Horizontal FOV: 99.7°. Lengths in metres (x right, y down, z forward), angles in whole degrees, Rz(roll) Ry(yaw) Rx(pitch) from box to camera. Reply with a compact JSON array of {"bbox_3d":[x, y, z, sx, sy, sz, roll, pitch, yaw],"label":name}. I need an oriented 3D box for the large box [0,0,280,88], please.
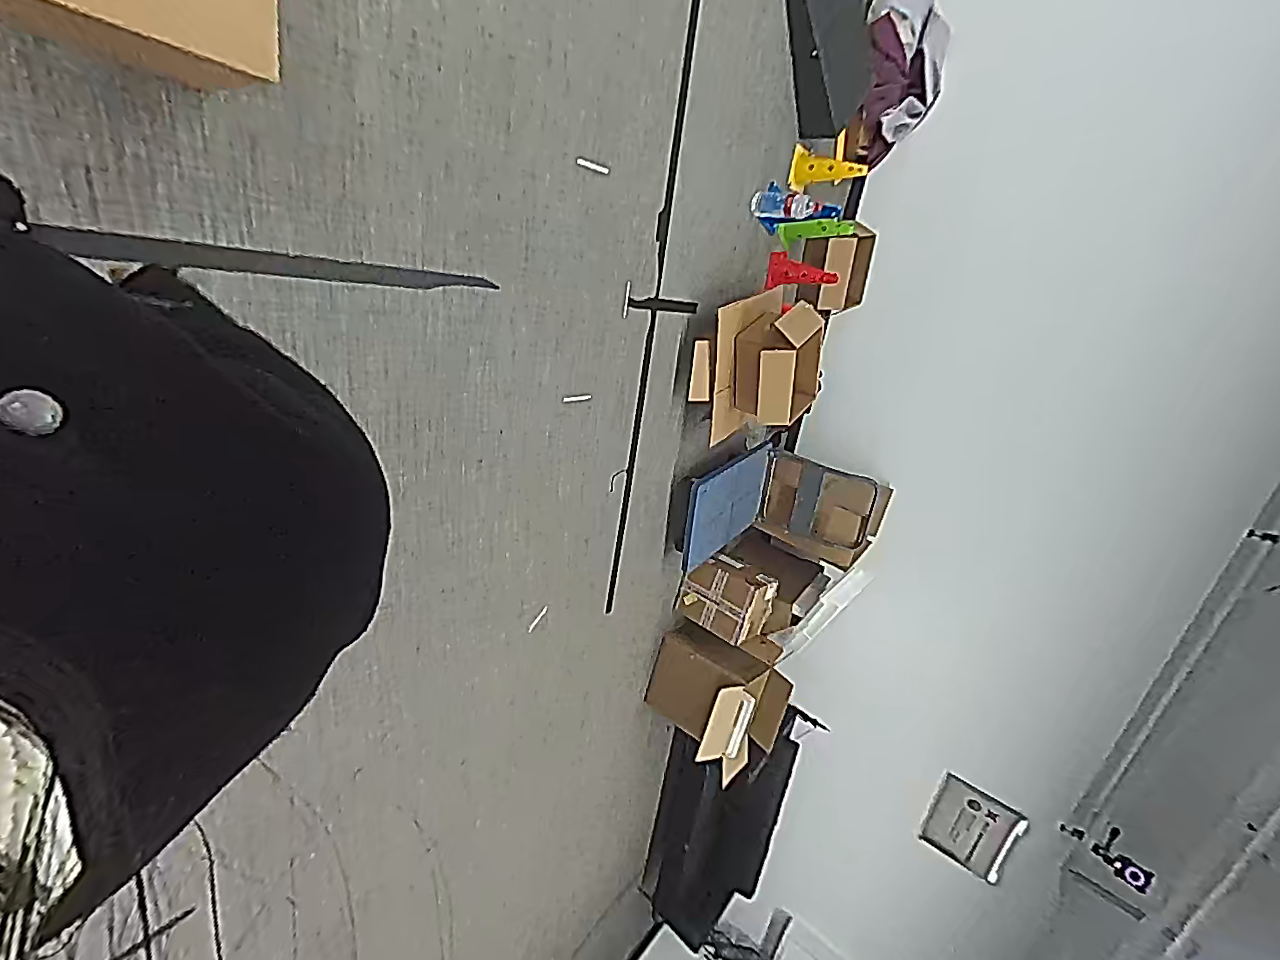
[{"bbox_3d":[-0.803,-0.813,0.761,0.408,0.320,0.320,-15,122,-52],"label":"large box"}]
